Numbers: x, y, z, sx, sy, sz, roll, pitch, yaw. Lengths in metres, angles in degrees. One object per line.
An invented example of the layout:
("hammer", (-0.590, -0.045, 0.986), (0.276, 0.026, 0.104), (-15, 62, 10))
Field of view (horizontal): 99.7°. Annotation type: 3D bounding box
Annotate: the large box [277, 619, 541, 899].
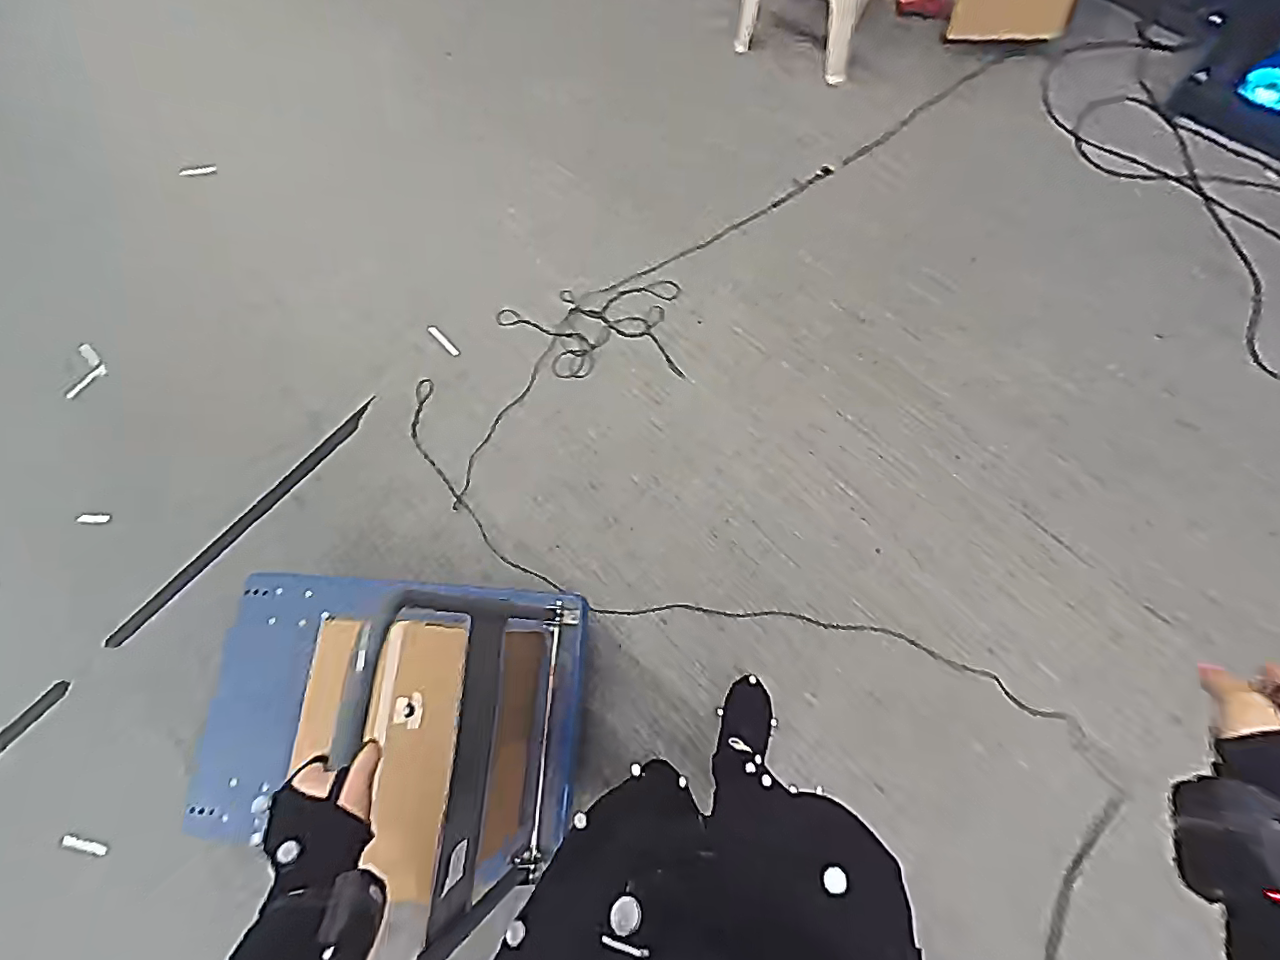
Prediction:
("large box", (-0.400, 0.488, 1.036), (0.320, 0.320, 0.408), (2, 74, 8))
